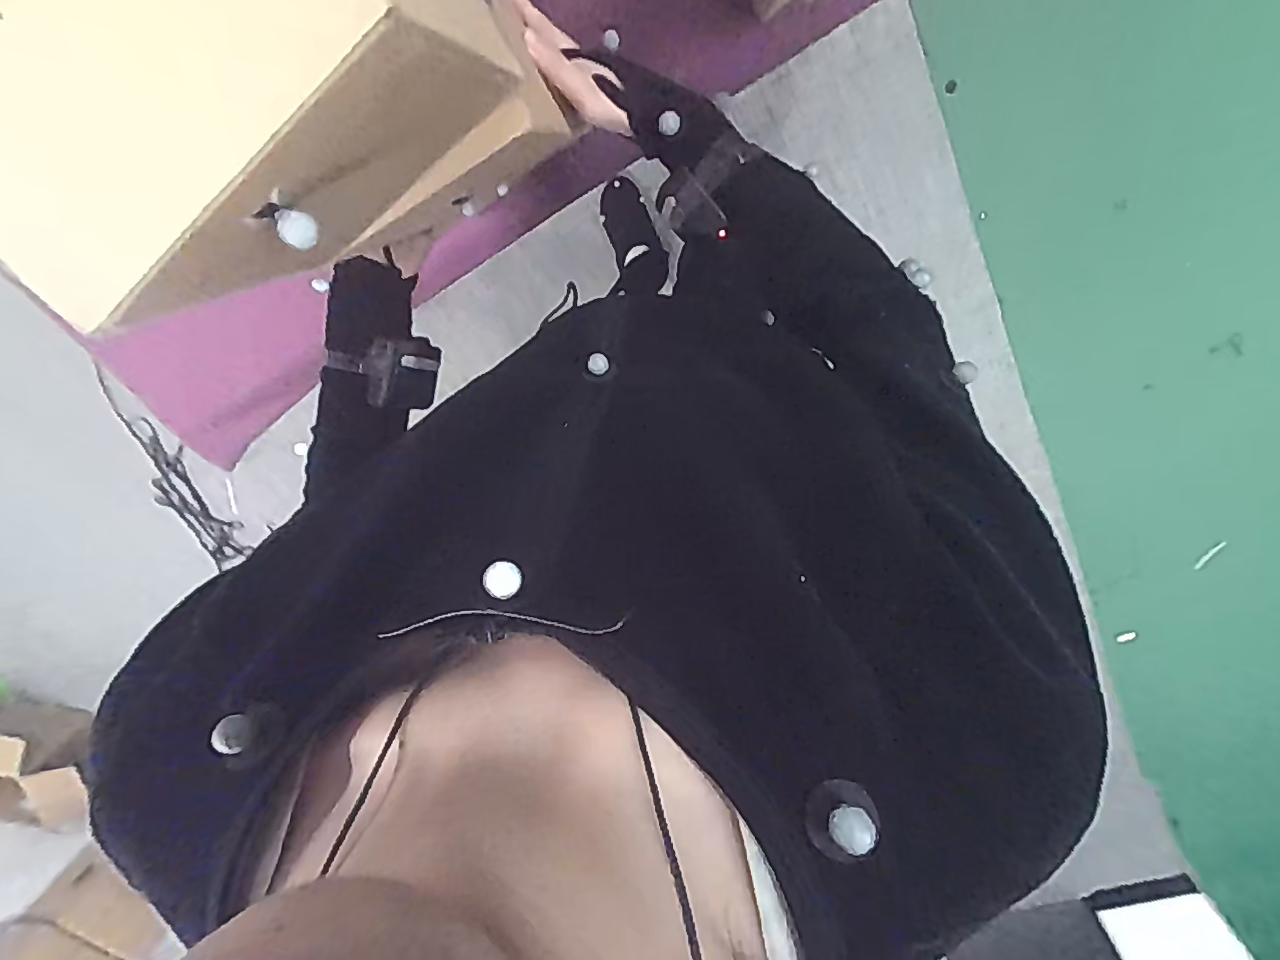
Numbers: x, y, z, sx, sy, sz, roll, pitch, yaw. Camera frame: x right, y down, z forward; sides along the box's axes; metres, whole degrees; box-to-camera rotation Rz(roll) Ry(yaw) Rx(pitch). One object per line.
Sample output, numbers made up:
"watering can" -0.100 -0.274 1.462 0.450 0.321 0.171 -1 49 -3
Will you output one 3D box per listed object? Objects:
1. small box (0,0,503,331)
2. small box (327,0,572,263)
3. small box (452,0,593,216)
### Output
"small box" -0.177 -0.196 0.219 0.179 0.176 0.168 -29 116 20
"small box" -0.162 -0.277 0.360 0.168 0.176 0.179 -23 117 16
"small box" -0.162 -0.363 0.500 0.179 0.176 0.168 -25 116 17
